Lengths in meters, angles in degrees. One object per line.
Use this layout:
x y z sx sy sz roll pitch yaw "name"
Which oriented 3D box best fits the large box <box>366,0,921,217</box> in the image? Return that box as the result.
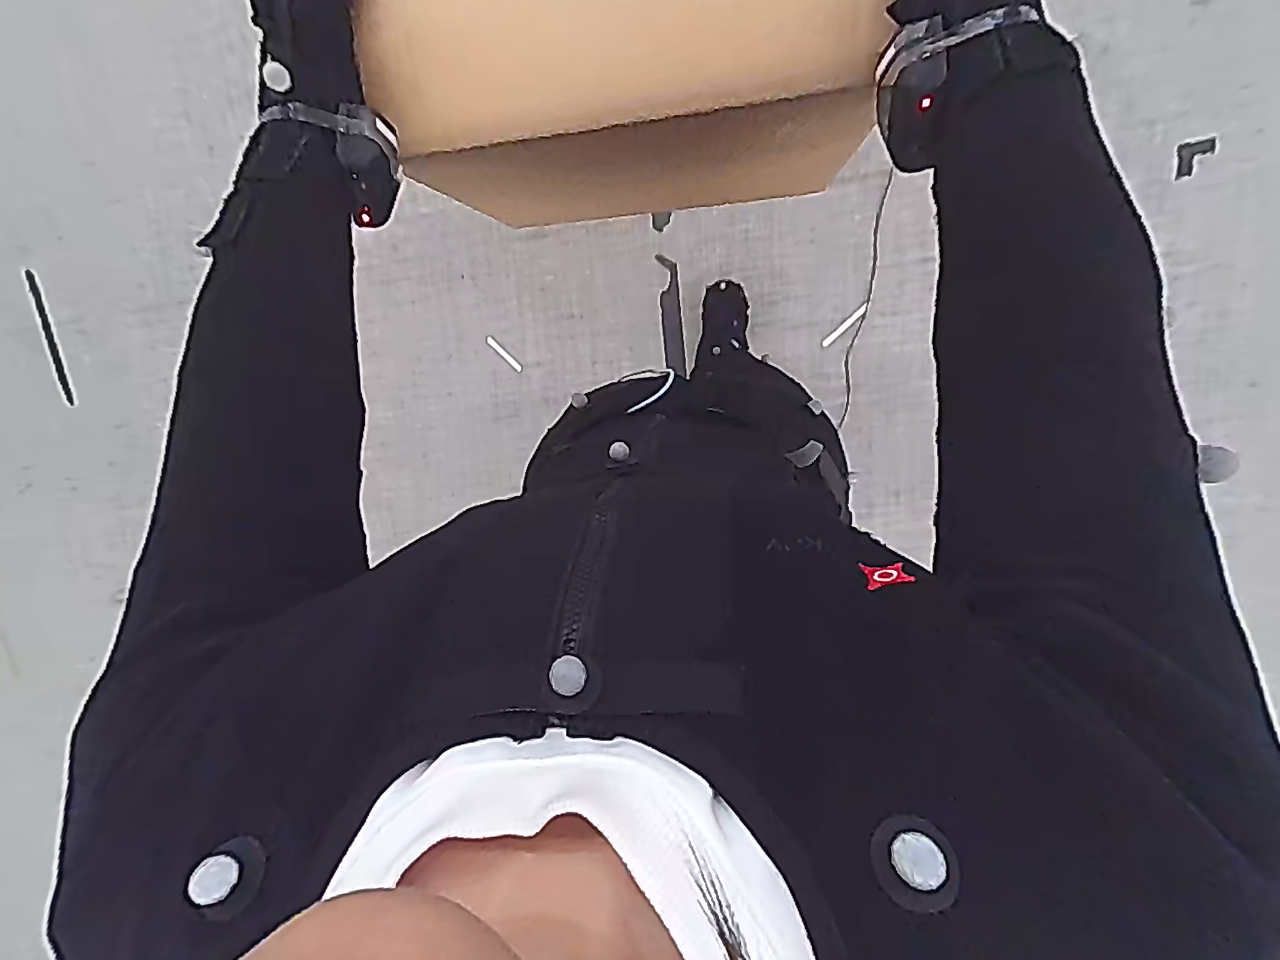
-0.001 -0.468 0.509 0.408 0.320 0.320 -4 106 8 "large box"
